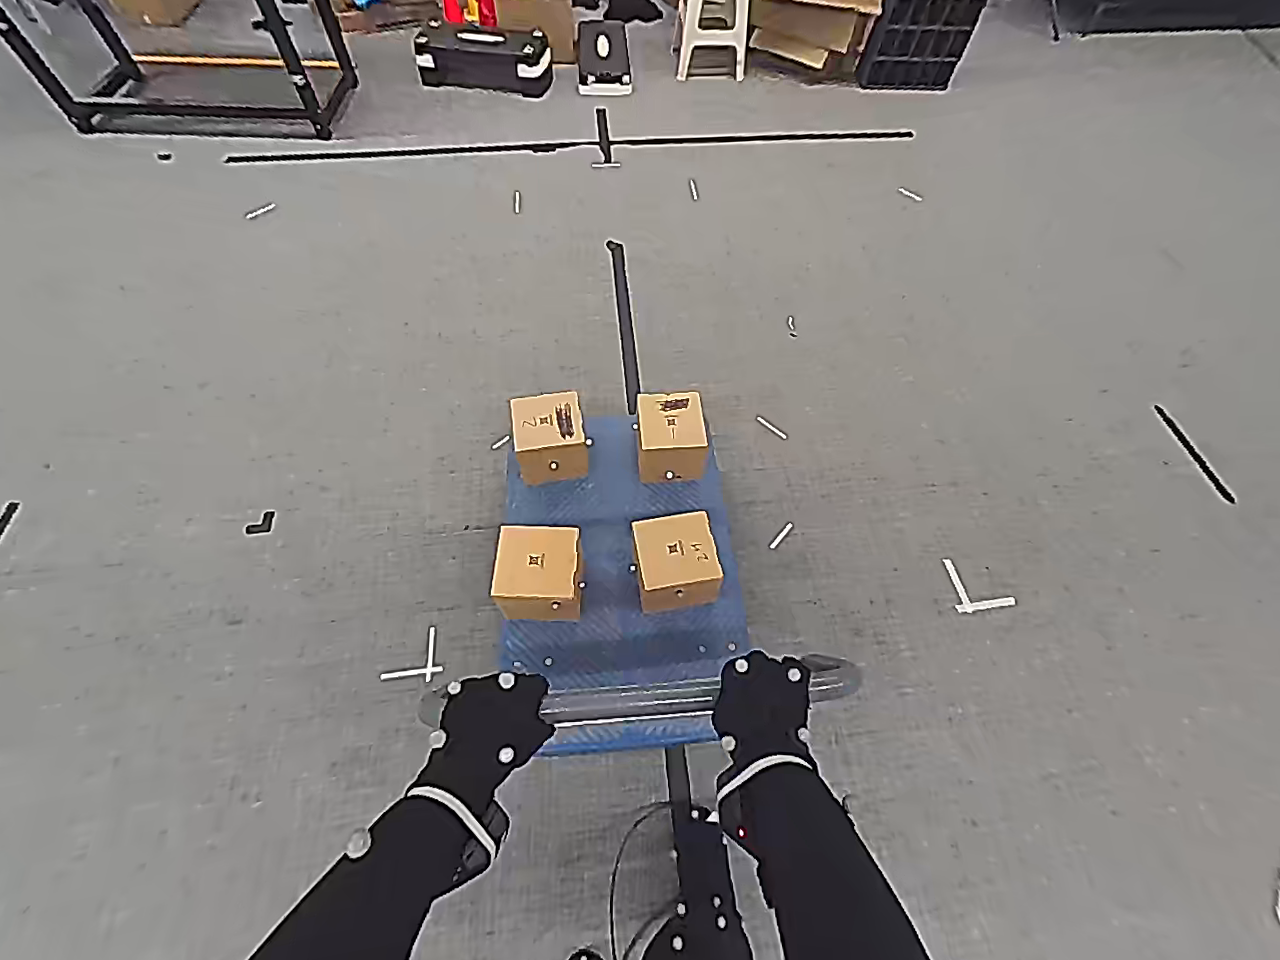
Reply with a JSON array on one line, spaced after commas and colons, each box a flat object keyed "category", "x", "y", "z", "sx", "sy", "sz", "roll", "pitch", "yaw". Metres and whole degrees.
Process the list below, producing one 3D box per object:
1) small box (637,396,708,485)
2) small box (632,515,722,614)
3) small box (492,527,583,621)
[{"category": "small box", "x": 0.081, "y": -0.103, "z": 1.447, "sx": 0.168, "sy": 0.176, "sz": 0.179, "roll": -3, "pitch": 60, "yaw": -3}, {"category": "small box", "x": 0.079, "y": 0.202, "z": 1.265, "sx": 0.179, "sy": 0.176, "sz": 0.168, "roll": -8, "pitch": 60, "yaw": -6}, {"category": "small box", "x": -0.227, "y": 0.221, "z": 1.245, "sx": 0.179, "sy": 0.176, "sz": 0.168, "roll": 2, "pitch": 59, "yaw": -2}]
